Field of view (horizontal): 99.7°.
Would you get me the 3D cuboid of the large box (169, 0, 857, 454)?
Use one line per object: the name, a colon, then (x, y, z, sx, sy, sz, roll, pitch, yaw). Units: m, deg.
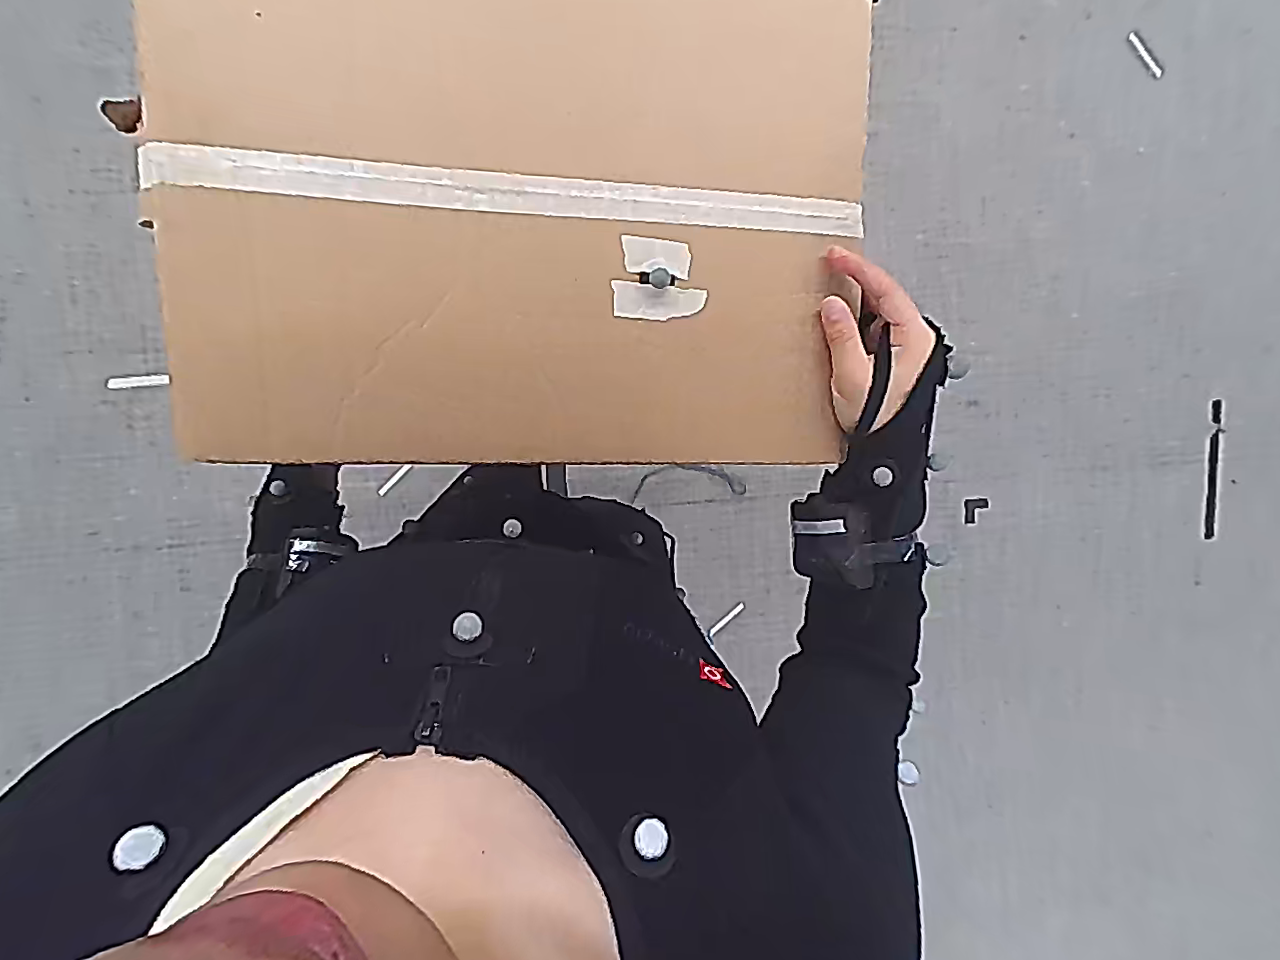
large box: (-0.083, -0.191, 0.474, 0.408, 0.320, 0.320, -1, 98, -11)
